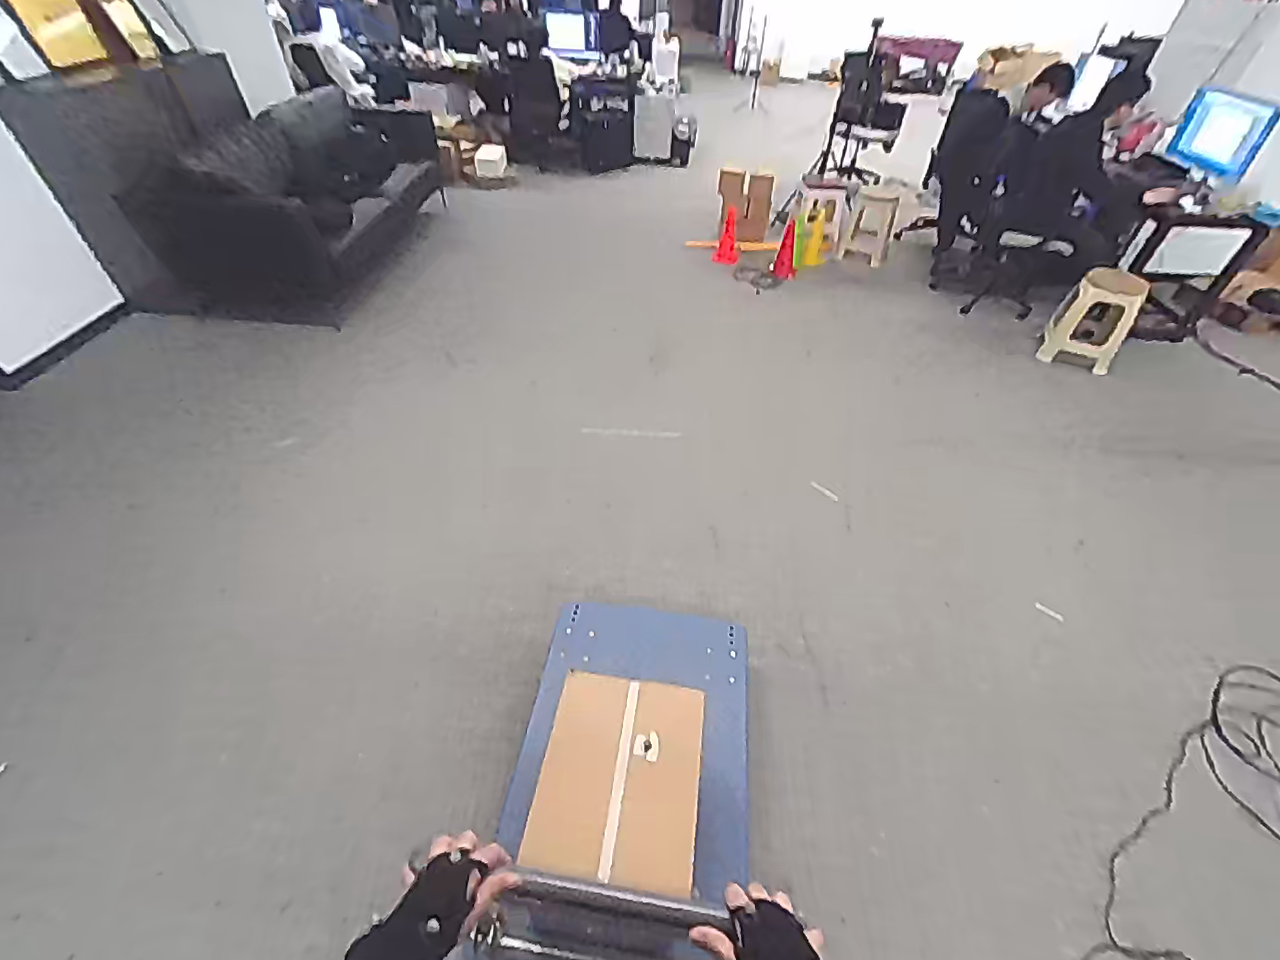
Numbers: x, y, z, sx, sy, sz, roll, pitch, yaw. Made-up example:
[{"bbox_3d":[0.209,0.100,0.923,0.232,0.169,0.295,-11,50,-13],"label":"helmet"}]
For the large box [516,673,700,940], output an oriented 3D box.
[{"bbox_3d":[-0.046,0.699,1.177,0.320,0.320,0.408,7,42,5],"label":"large box"}]
